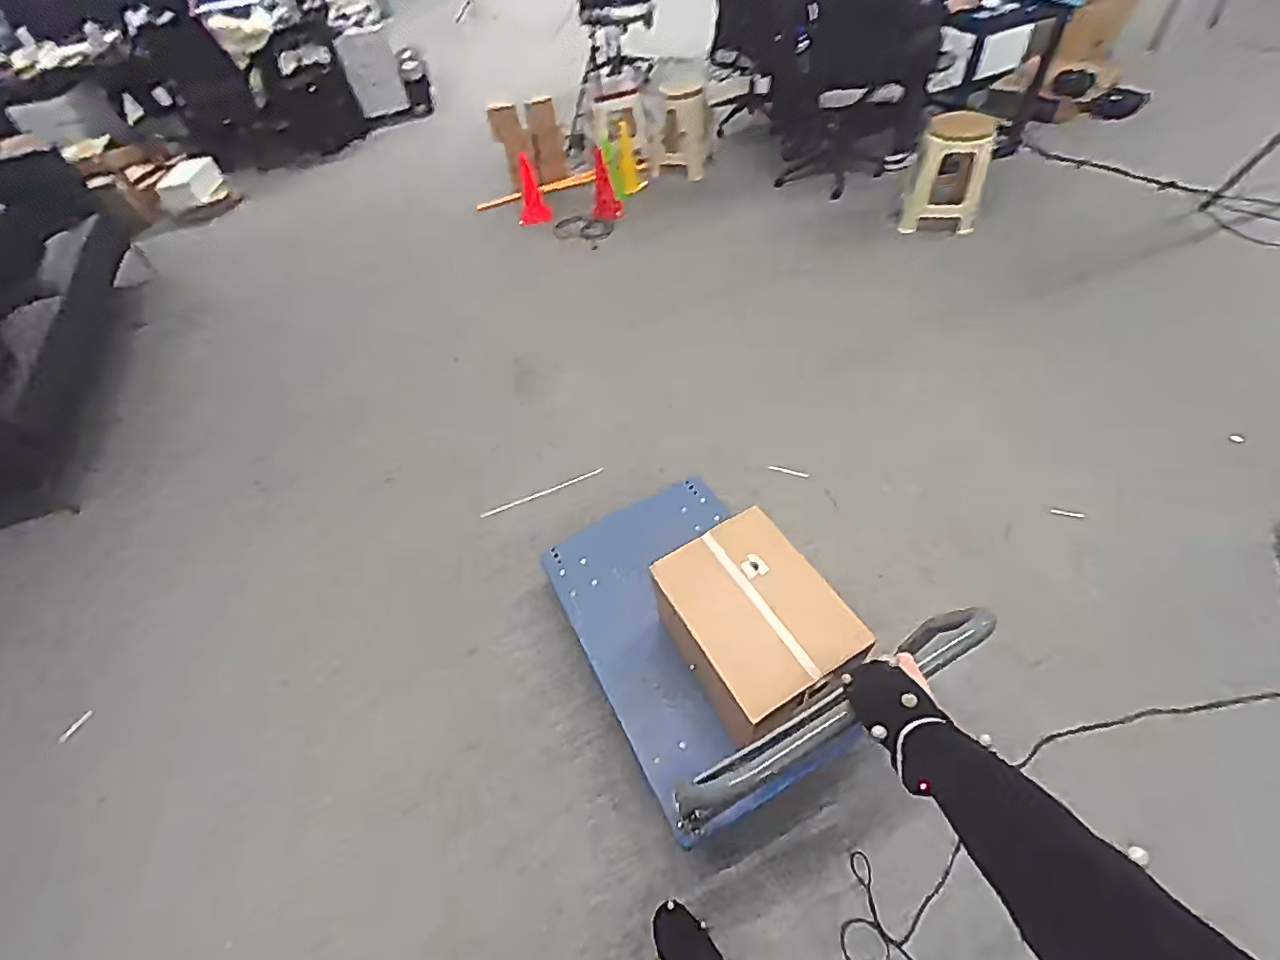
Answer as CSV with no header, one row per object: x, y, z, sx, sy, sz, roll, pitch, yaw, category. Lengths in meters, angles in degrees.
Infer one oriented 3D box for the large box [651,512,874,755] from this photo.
0.272,0.363,1.296,0.320,0.320,0.408,-27,53,-14,large box
